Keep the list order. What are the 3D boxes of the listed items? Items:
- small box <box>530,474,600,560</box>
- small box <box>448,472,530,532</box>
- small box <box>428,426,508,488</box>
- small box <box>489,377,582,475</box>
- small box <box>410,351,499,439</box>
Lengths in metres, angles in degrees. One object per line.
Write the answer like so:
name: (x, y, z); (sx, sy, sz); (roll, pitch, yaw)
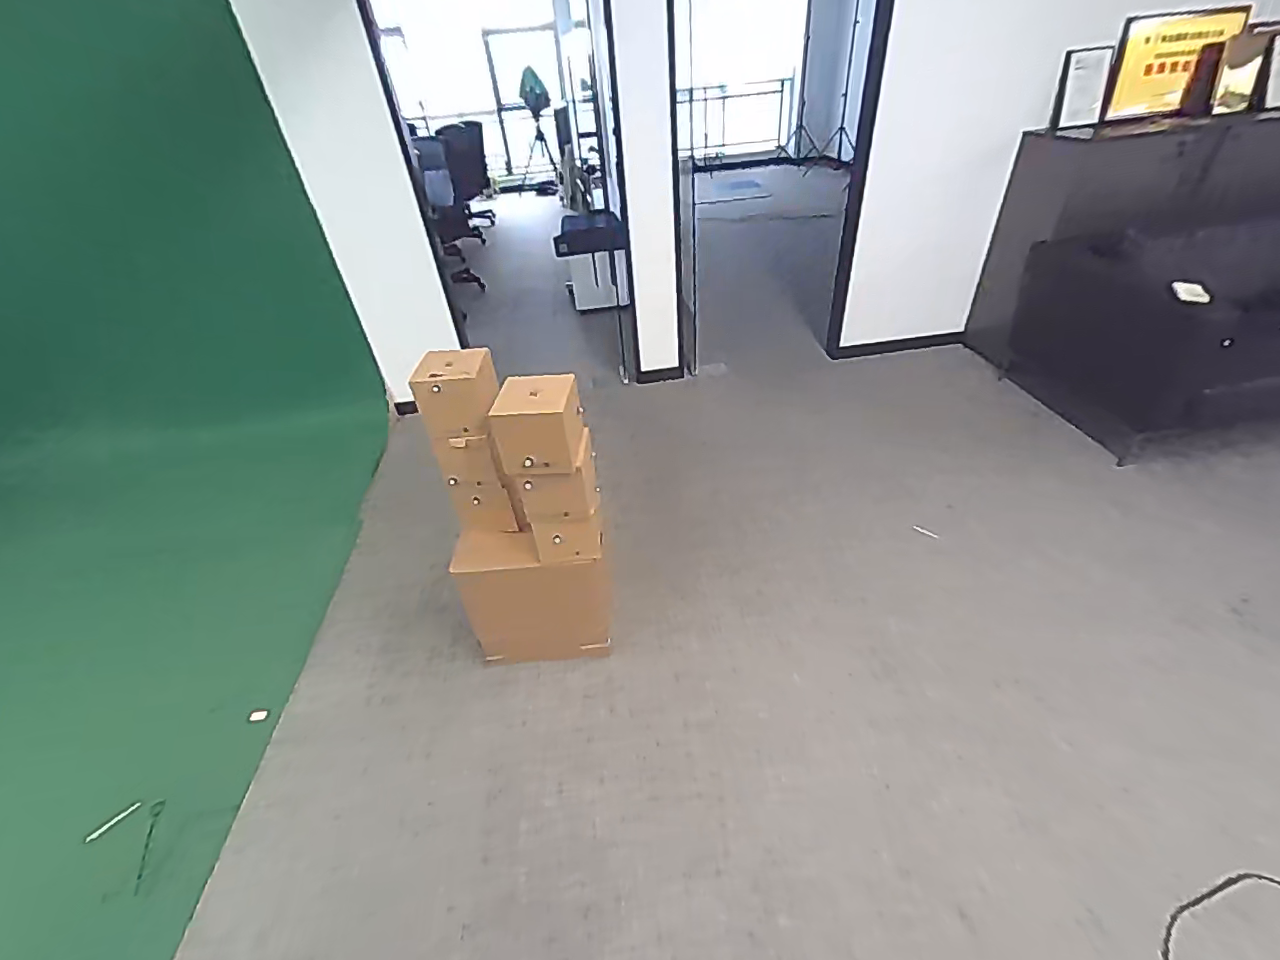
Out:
small box: (-0.202, 0.109, 1.496); (0.168, 0.176, 0.179); (-6, 37, -1)
small box: (-0.443, 0.042, 1.611); (0.179, 0.176, 0.168); (0, 38, 5)
small box: (-0.458, -0.089, 1.513); (0.168, 0.176, 0.179); (0, 37, 7)
small box: (-0.236, -0.128, 1.269); (0.168, 0.176, 0.179); (-2, 38, 5)
small box: (-0.474, -0.224, 1.419); (0.168, 0.176, 0.179); (-4, 36, 2)
